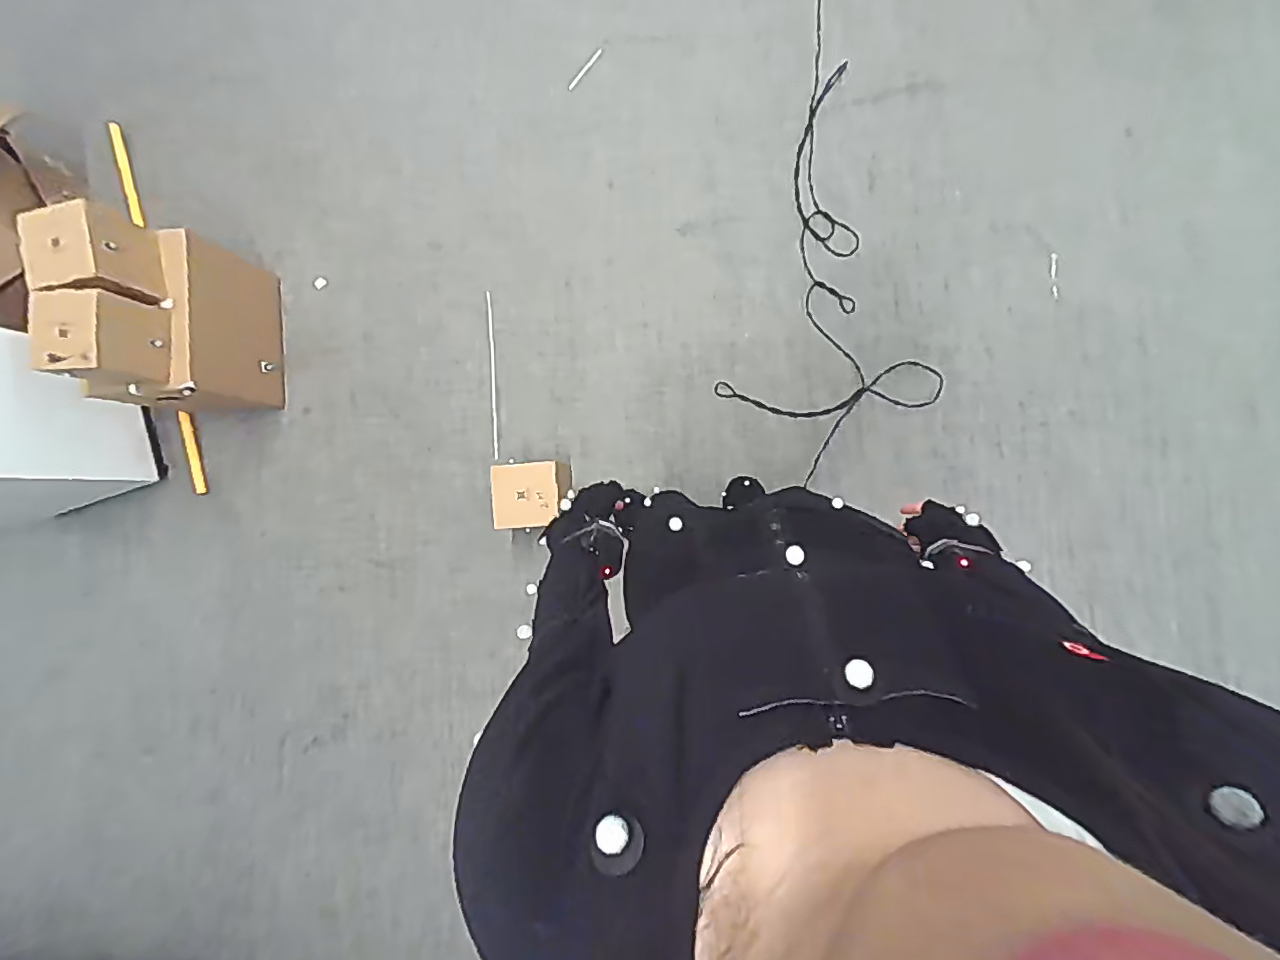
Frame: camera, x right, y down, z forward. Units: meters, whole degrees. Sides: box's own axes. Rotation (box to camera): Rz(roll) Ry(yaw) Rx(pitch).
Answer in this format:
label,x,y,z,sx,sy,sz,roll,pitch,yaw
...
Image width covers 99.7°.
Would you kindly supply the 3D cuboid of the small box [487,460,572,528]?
label,x,y,z,sx,sy,sz,roll,pitch,yaw
small box,-0.291,0.039,1.447,0.179,0.176,0.168,-4,89,6
